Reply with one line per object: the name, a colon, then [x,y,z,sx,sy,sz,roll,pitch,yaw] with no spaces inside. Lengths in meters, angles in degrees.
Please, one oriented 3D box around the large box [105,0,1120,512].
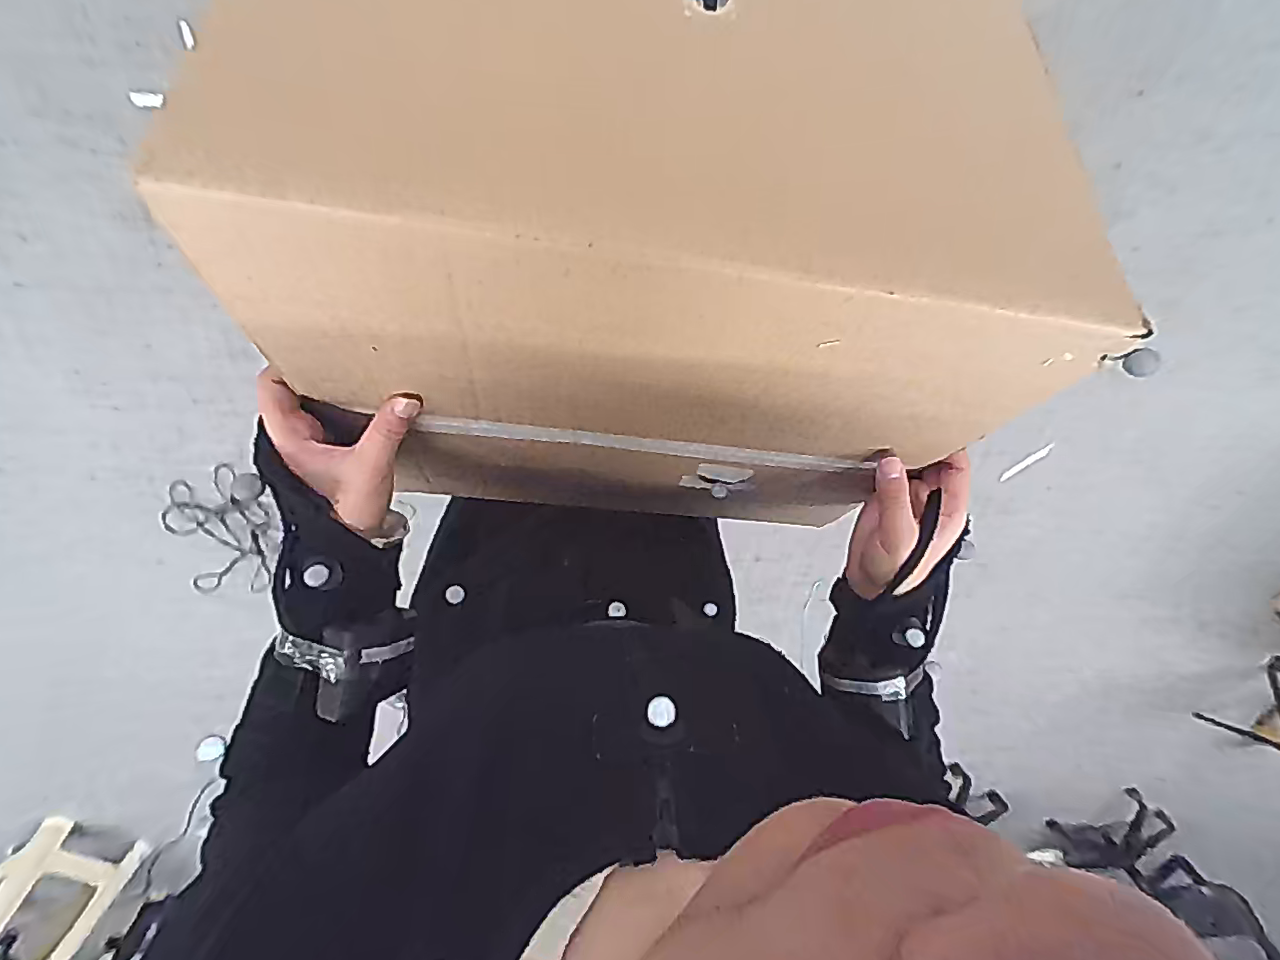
large box: [-0.010,-0.175,0.396,0.408,0.320,0.320,4,161,-8]
